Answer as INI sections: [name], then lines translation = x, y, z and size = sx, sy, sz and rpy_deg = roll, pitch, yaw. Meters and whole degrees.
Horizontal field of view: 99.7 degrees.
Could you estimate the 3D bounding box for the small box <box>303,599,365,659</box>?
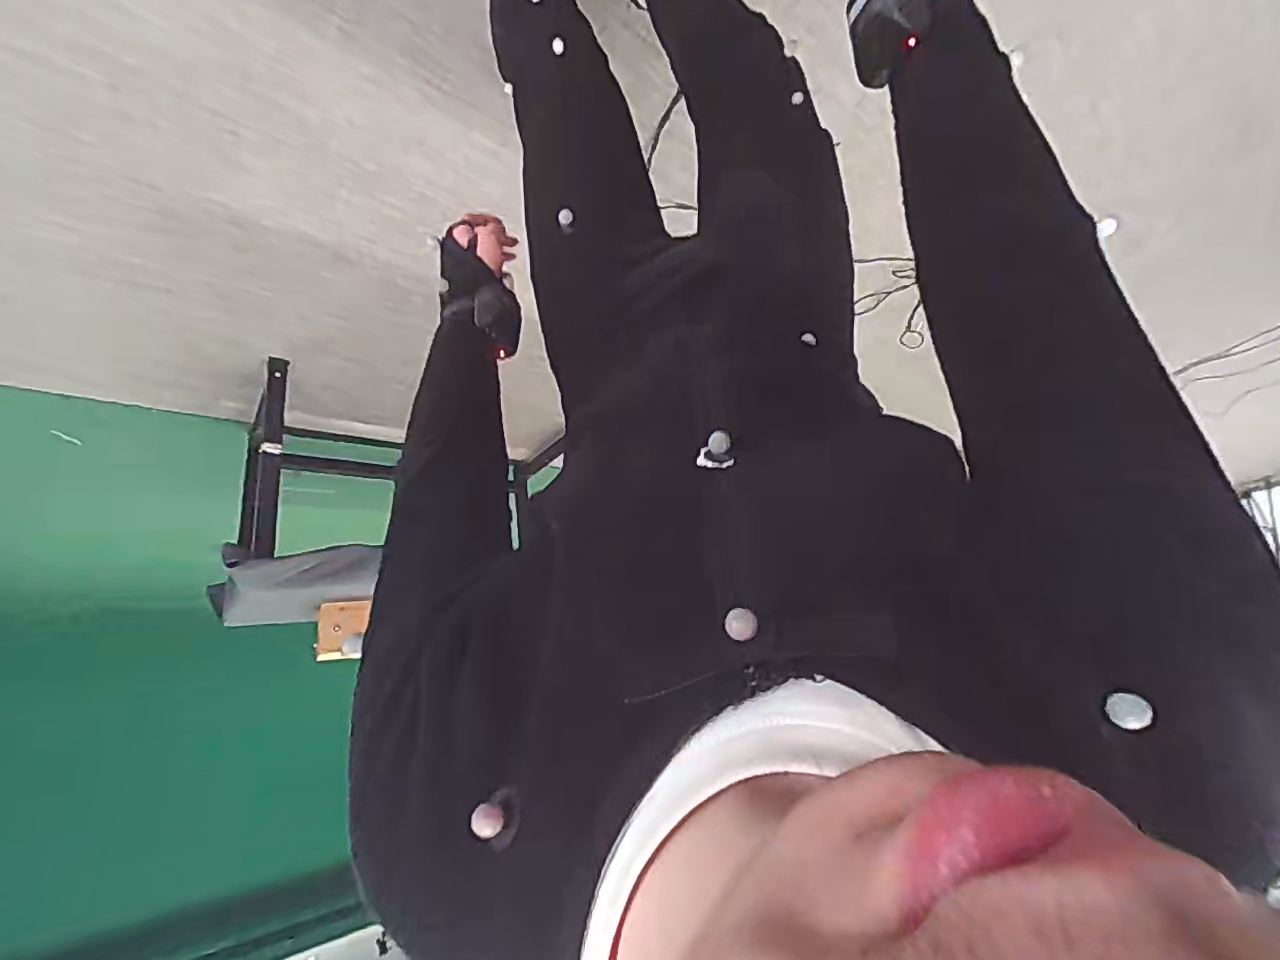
[small box]
translation = -1.025, 0.495, 1.811
size = 0.168, 0.176, 0.179
rpy_deg = 6, 156, -32
